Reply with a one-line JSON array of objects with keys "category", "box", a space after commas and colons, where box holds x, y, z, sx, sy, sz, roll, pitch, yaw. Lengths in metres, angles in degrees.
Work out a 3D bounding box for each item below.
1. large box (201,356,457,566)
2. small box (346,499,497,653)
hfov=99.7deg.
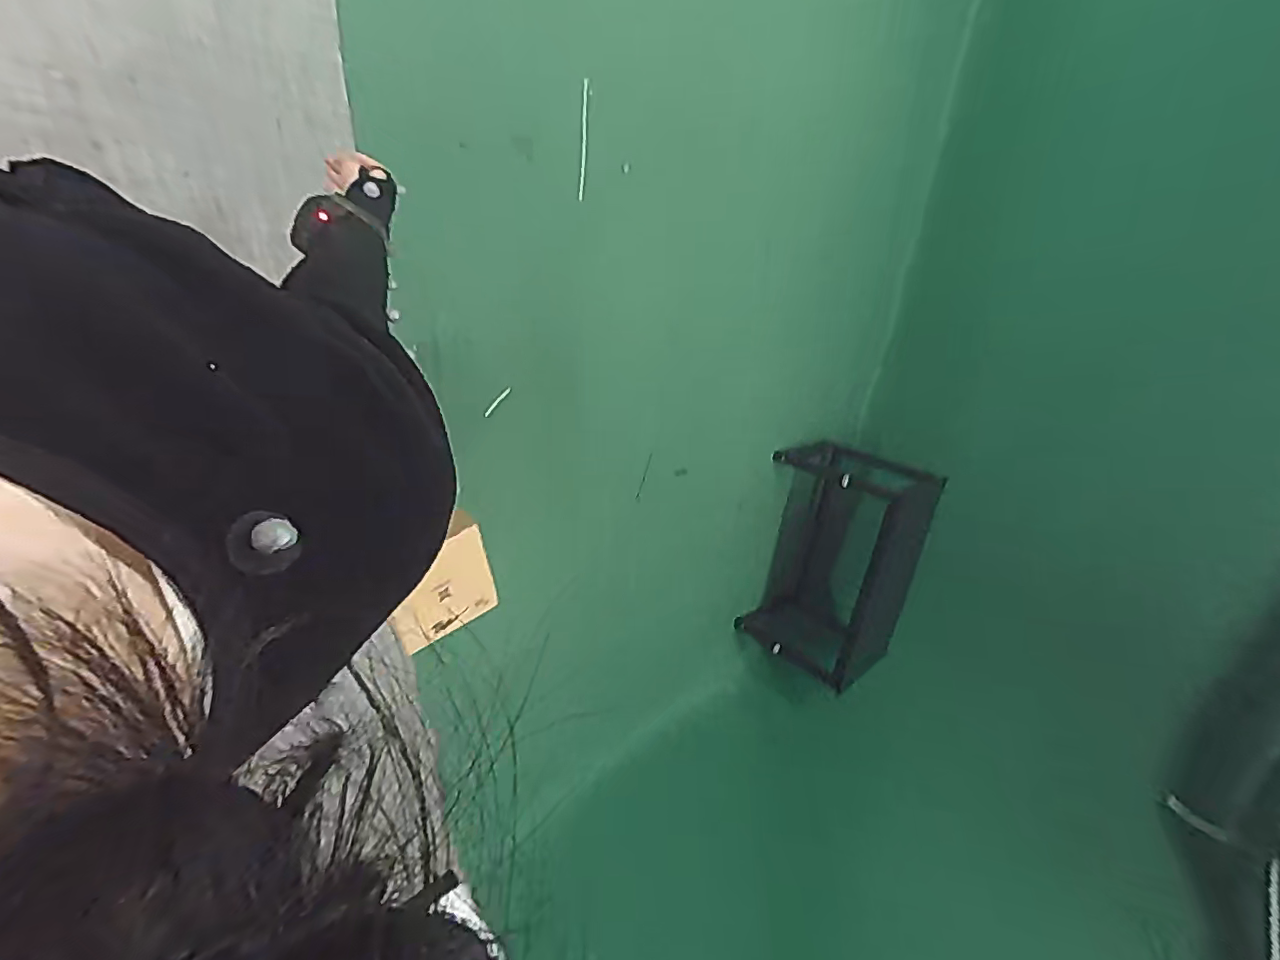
[{"category": "large box", "box": [-0.734, -0.071, 1.309, 0.408, 0.320, 0.320, -31, 132, -33]}, {"category": "small box", "box": [-0.372, 0.149, 0.921, 0.168, 0.176, 0.179, -26, 126, -34]}]
